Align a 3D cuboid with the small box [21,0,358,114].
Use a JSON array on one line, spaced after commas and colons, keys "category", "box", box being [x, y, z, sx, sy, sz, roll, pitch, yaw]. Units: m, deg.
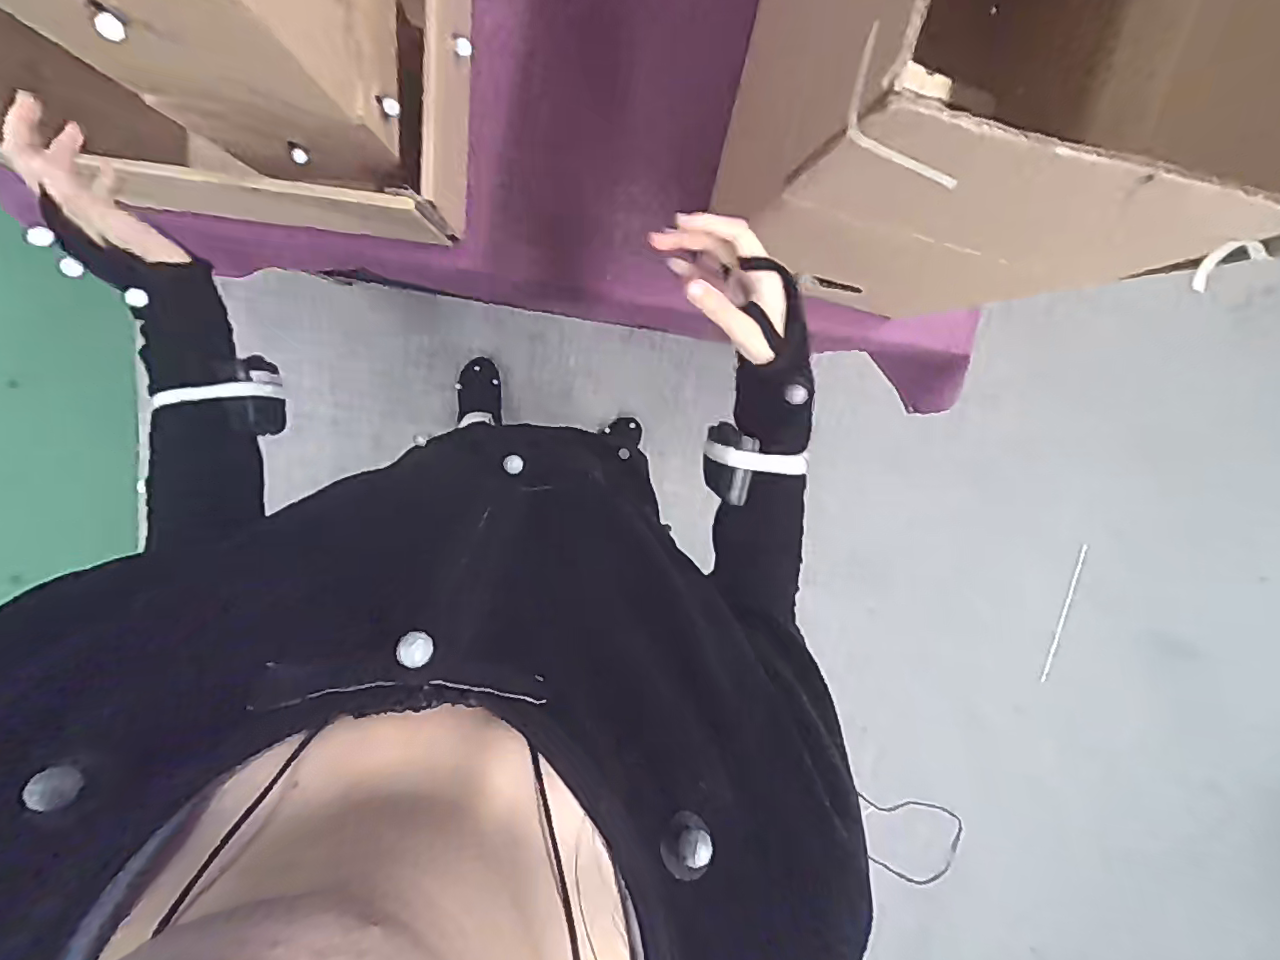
[{"category": "small box", "box": [-0.312, -0.377, 0.359, 0.179, 0.176, 0.168, 5, 101, -7]}]
